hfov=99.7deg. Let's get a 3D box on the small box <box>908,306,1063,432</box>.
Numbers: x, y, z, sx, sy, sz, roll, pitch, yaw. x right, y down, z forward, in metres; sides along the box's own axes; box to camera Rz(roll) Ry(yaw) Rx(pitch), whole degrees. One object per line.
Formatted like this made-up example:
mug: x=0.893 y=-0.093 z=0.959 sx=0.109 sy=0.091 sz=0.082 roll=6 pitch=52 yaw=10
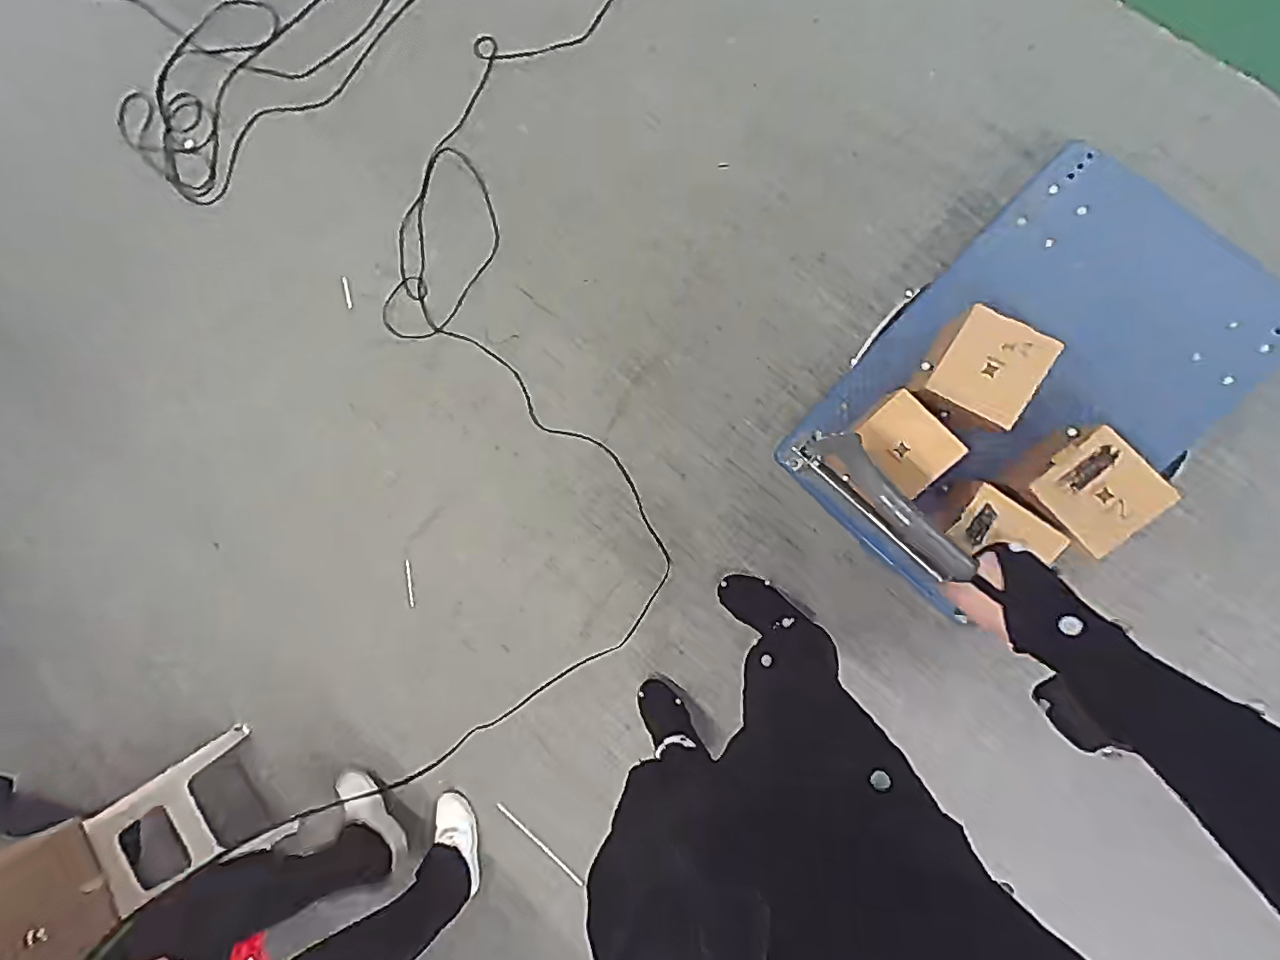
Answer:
small box: x=0.650 y=-0.204 z=1.049 sx=0.168 sy=0.176 sz=0.179 roll=31 pitch=98 yaw=8
